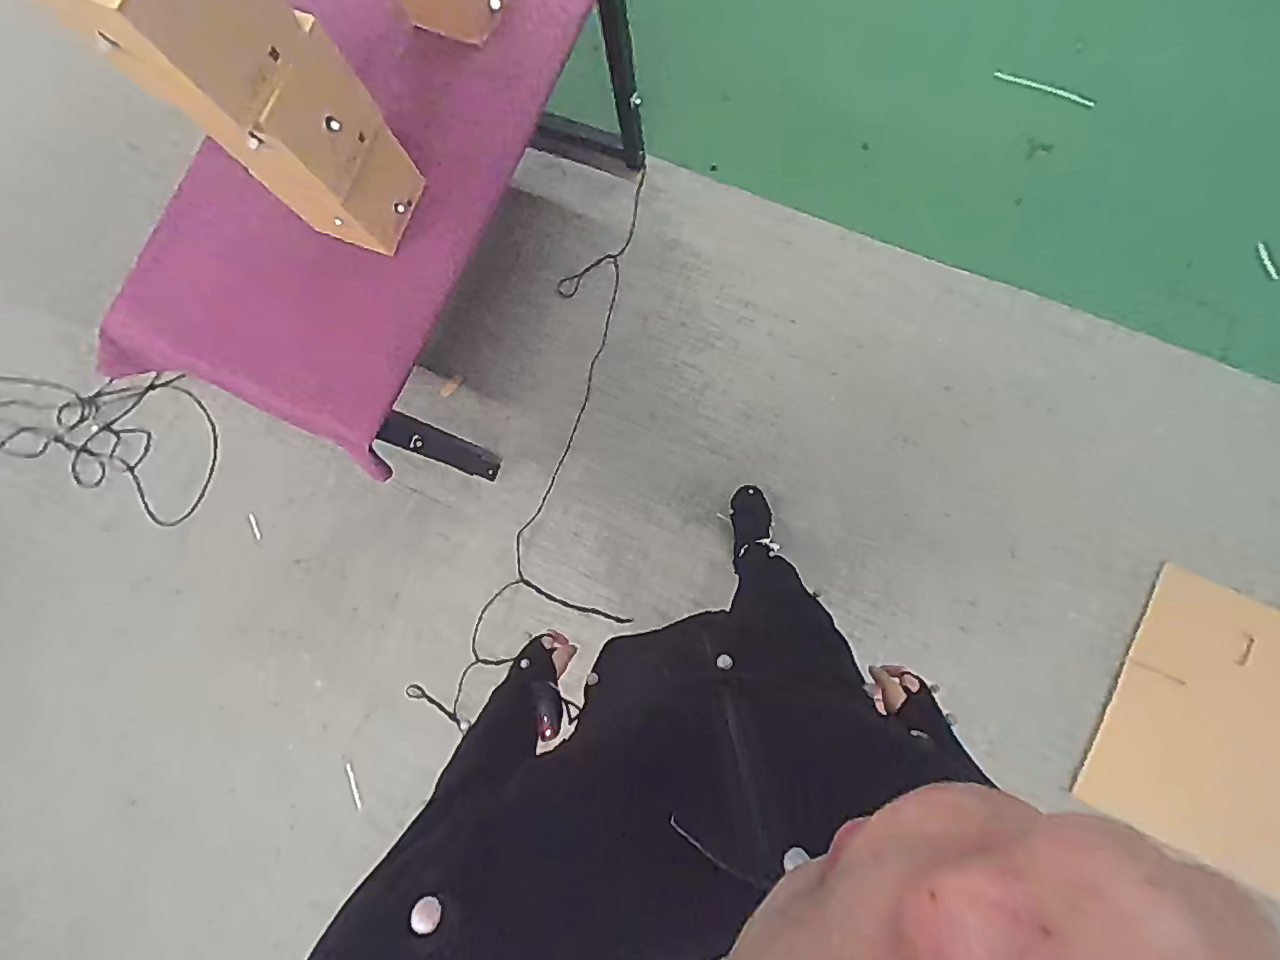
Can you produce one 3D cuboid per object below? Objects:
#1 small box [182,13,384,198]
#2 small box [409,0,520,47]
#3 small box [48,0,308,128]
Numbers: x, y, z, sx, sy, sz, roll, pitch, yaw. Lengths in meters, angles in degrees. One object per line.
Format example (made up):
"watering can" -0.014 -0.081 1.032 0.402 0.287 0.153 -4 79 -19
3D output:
"small box" -0.523 -0.556 0.802 0.179 0.176 0.168 22 85 8
"small box" -0.345 -0.962 1.004 0.179 0.176 0.168 26 87 9
"small box" -0.550 -0.564 0.639 0.179 0.176 0.168 25 86 9
